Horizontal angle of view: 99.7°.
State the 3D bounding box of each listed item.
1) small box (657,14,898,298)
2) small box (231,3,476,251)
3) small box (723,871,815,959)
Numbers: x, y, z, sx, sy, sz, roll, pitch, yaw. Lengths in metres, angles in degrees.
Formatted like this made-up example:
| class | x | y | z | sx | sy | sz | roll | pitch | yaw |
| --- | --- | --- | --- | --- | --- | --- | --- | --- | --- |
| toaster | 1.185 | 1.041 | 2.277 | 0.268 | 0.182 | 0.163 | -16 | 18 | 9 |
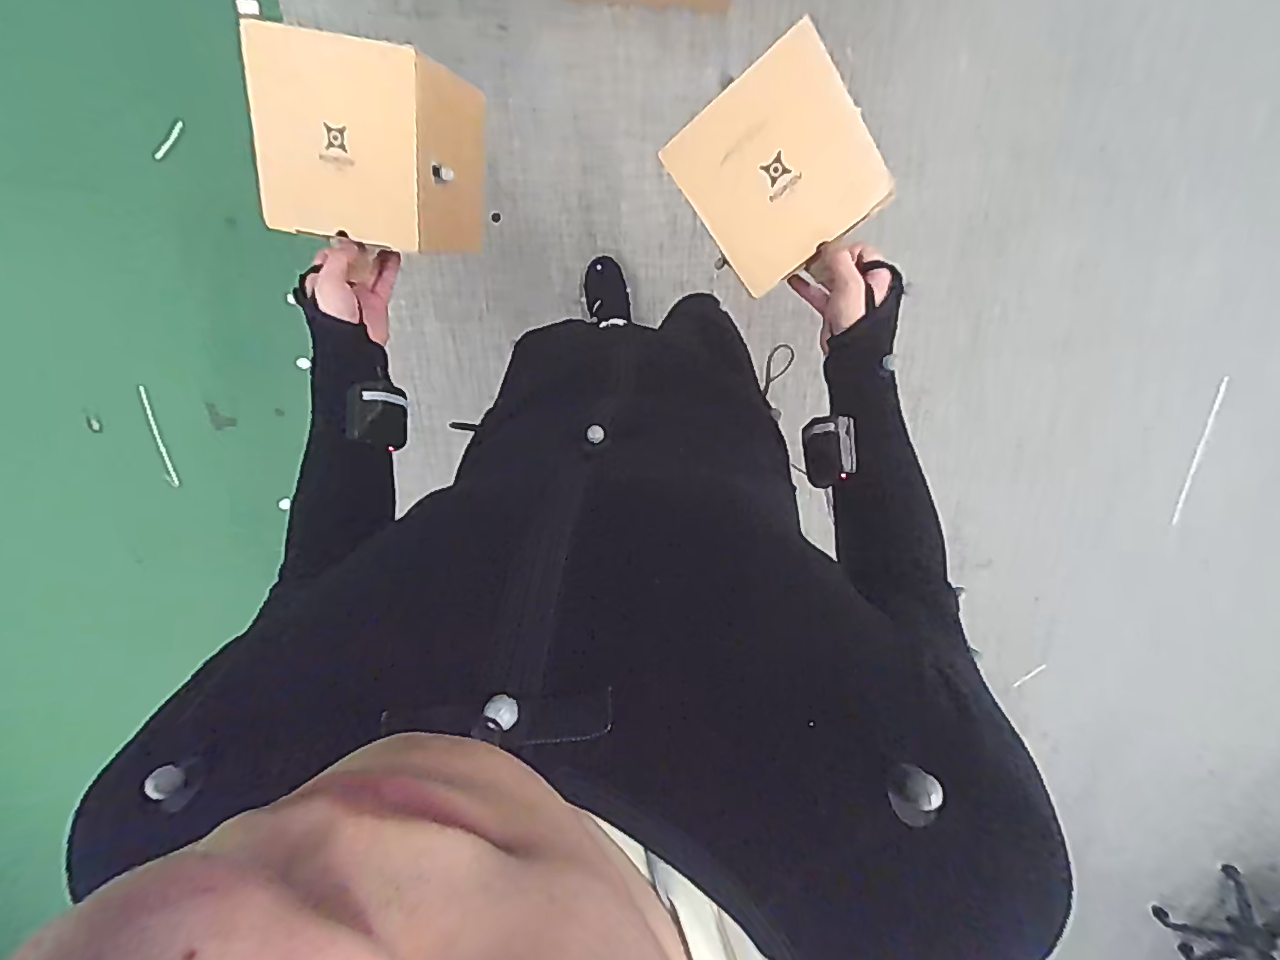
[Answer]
| class | x | y | z | sx | sy | sz | roll | pitch | yaw |
| --- | --- | --- | --- | --- | --- | --- | --- | --- | --- |
| small box | 0.136 | -0.329 | 0.575 | 0.168 | 0.176 | 0.179 | -33 | 112 | 19 |
| small box | -0.284 | -0.356 | 0.577 | 0.168 | 0.176 | 0.179 | 11 | 116 | 0 |
| small box | 0.286 | 1.038 | 1.238 | 0.168 | 0.176 | 0.179 | -2 | 112 | 0 |
